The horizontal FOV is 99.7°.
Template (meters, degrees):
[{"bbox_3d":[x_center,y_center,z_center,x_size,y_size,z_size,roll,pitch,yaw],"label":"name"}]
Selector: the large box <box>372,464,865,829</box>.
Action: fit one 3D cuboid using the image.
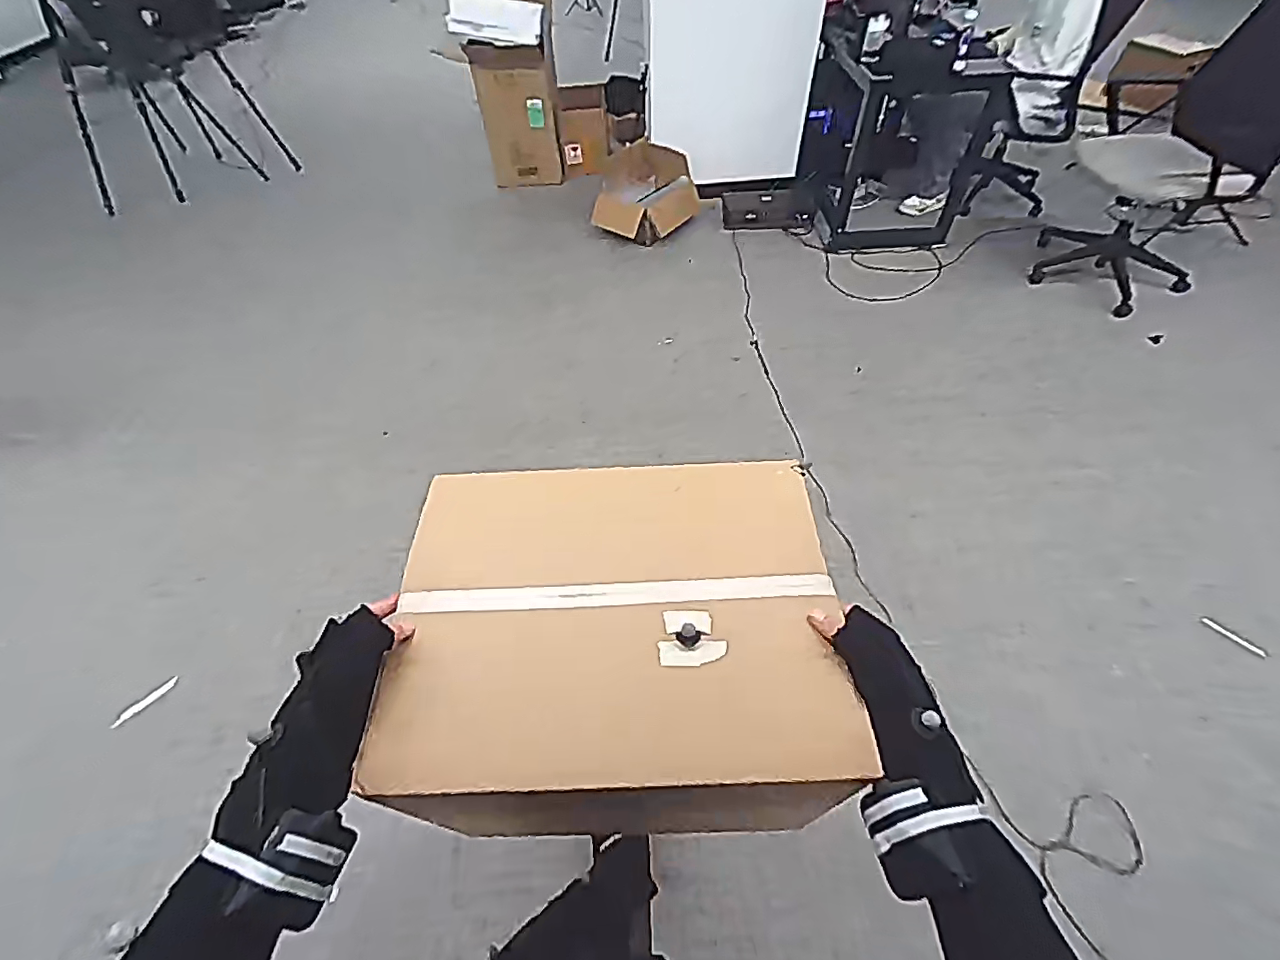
[{"bbox_3d":[-0.018,0.203,0.636,0.408,0.320,0.320,-2,51,1],"label":"large box"}]
